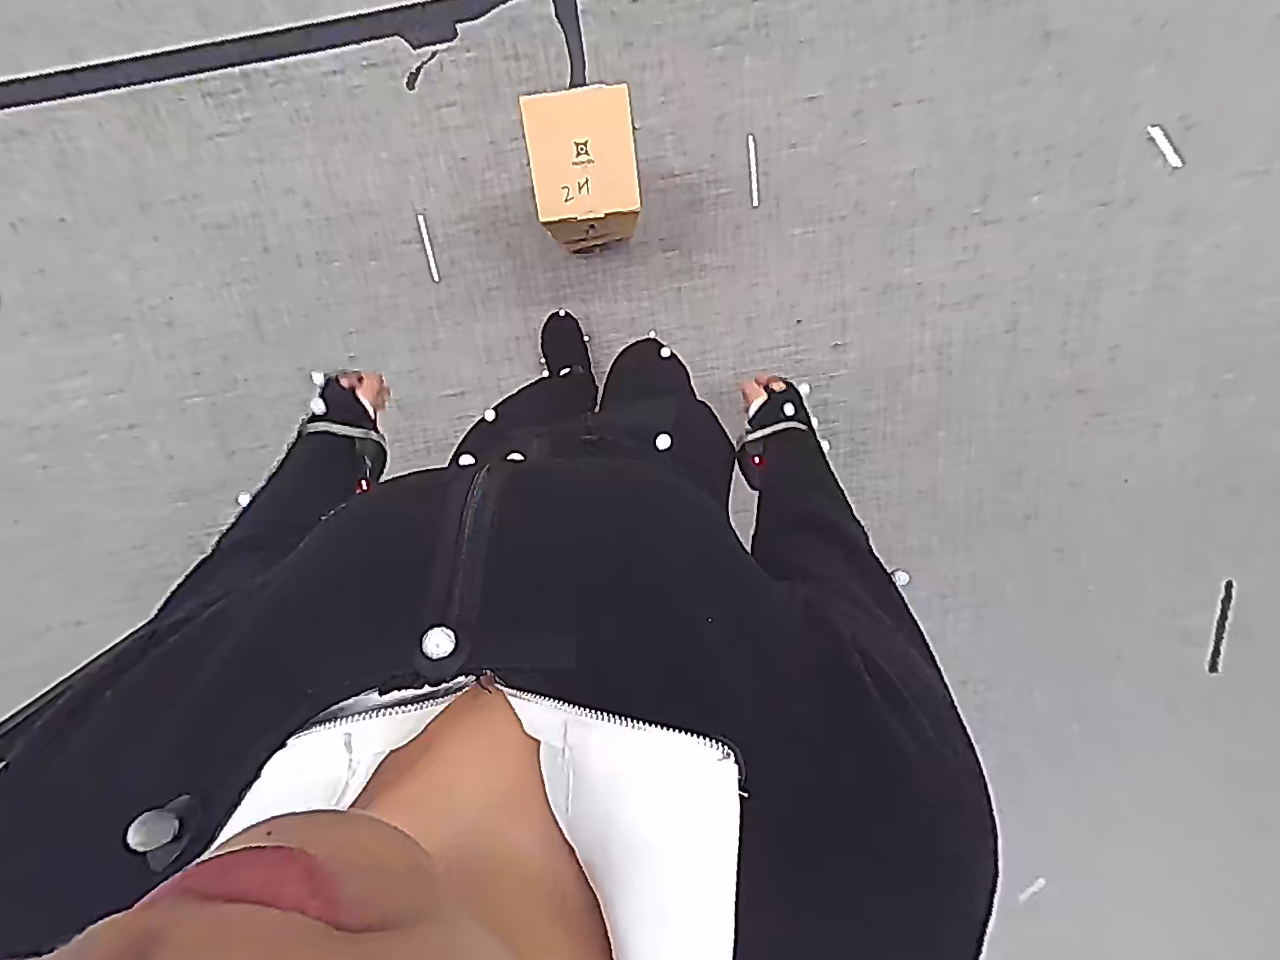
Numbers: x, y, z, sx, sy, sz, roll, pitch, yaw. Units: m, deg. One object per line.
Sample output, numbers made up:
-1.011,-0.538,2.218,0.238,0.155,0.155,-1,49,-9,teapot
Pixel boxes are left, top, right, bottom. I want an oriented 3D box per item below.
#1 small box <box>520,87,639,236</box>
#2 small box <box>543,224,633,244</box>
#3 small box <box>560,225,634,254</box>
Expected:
-0.095,-0.519,0.905,0.168,0.176,0.179,-7,109,0,small box
-0.107,-0.570,1.061,0.179,0.176,0.168,-10,109,0,small box
-0.115,-0.622,1.217,0.168,0.176,0.179,-14,110,2,small box
